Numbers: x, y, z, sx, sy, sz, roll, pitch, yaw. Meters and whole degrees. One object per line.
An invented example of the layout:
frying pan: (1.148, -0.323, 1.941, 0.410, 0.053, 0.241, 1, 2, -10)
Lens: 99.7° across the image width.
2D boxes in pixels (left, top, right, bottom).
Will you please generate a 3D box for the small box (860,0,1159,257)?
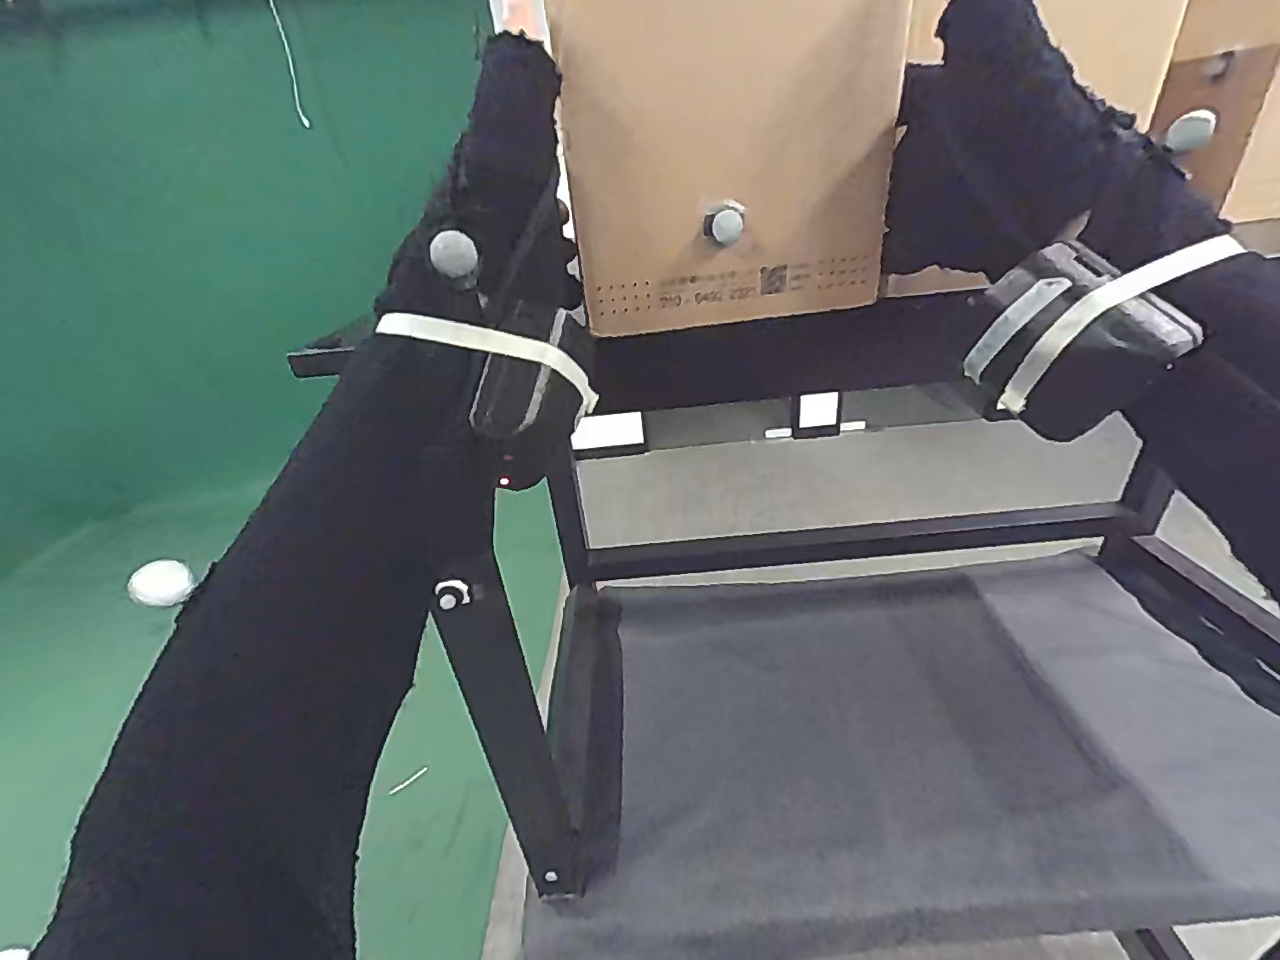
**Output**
small box: (0.259, -0.284, 0.439, 0.168, 0.176, 0.179, -5, 29, 5)

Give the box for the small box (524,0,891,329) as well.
small box: (0.028, -0.201, 0.335, 0.168, 0.176, 0.179, -8, 30, -2)
